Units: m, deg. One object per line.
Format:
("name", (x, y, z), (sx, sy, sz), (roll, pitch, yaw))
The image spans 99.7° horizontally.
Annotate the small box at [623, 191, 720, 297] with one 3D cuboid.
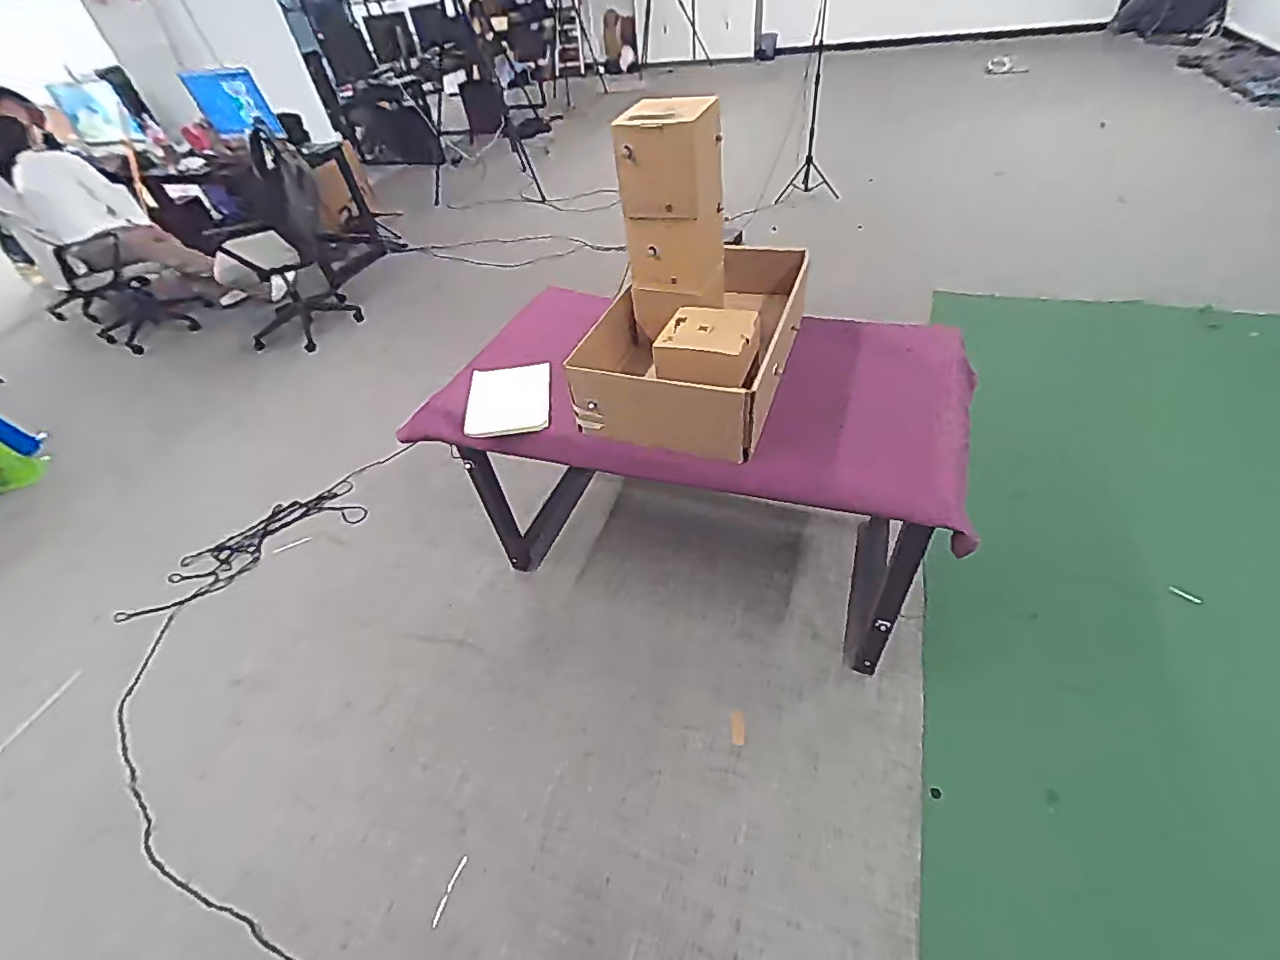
("small box", (0.080, -0.532, 1.218), (0.168, 0.176, 0.179), (13, 50, 21))
